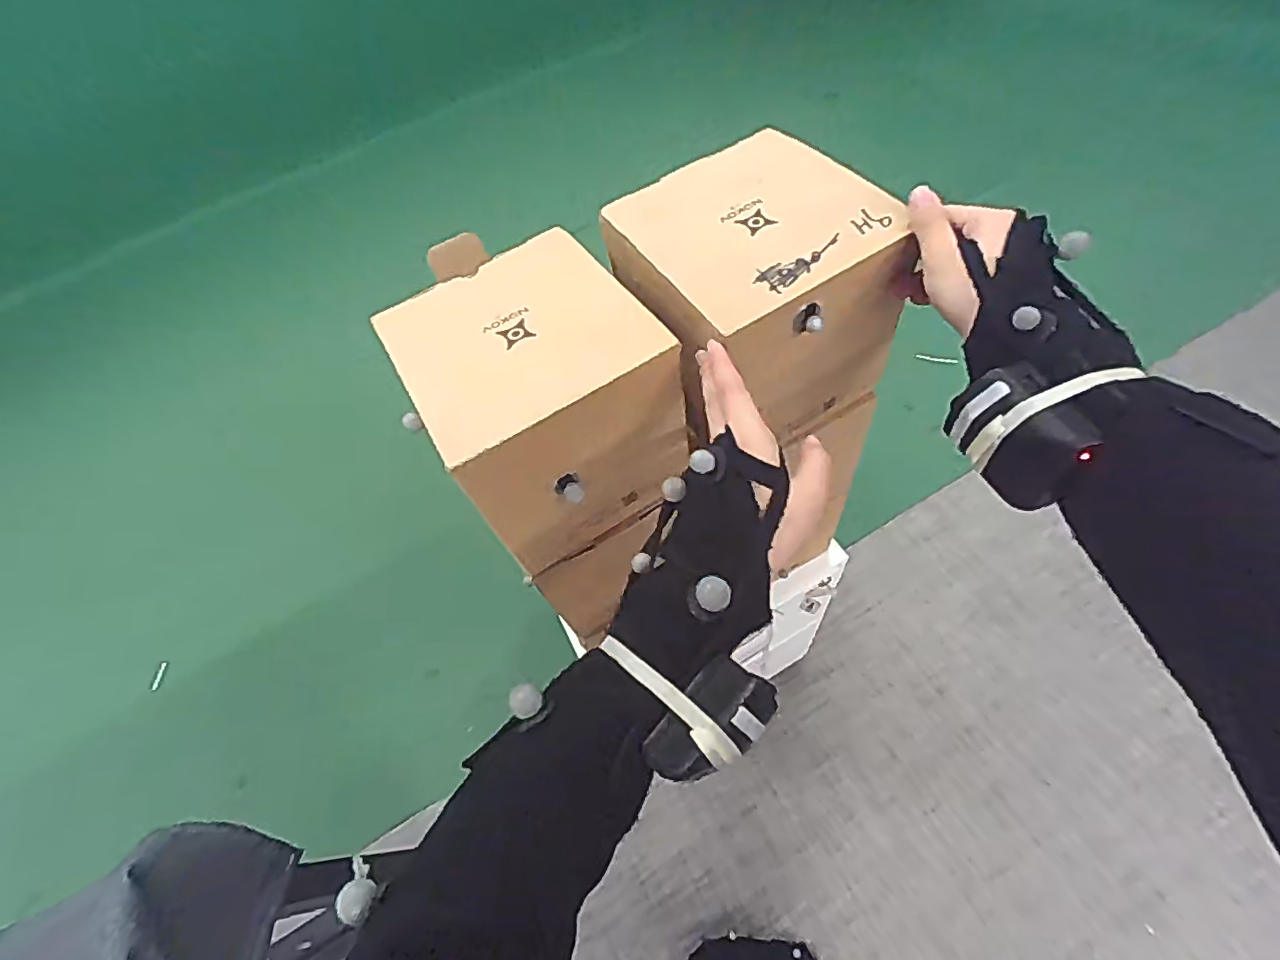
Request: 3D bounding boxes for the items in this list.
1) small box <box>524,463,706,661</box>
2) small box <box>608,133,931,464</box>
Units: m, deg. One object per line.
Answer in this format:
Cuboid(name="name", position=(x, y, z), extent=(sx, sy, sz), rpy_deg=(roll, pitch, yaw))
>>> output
Cuboid(name="small box", position=(-0.025, 0.117, 0.706), extent=(0.168, 0.176, 0.179), rpy_deg=(-28, 57, -9))
Cuboid(name="small box", position=(0.094, -0.147, 0.456), extent=(0.168, 0.176, 0.179), rpy_deg=(-29, 58, -8))
